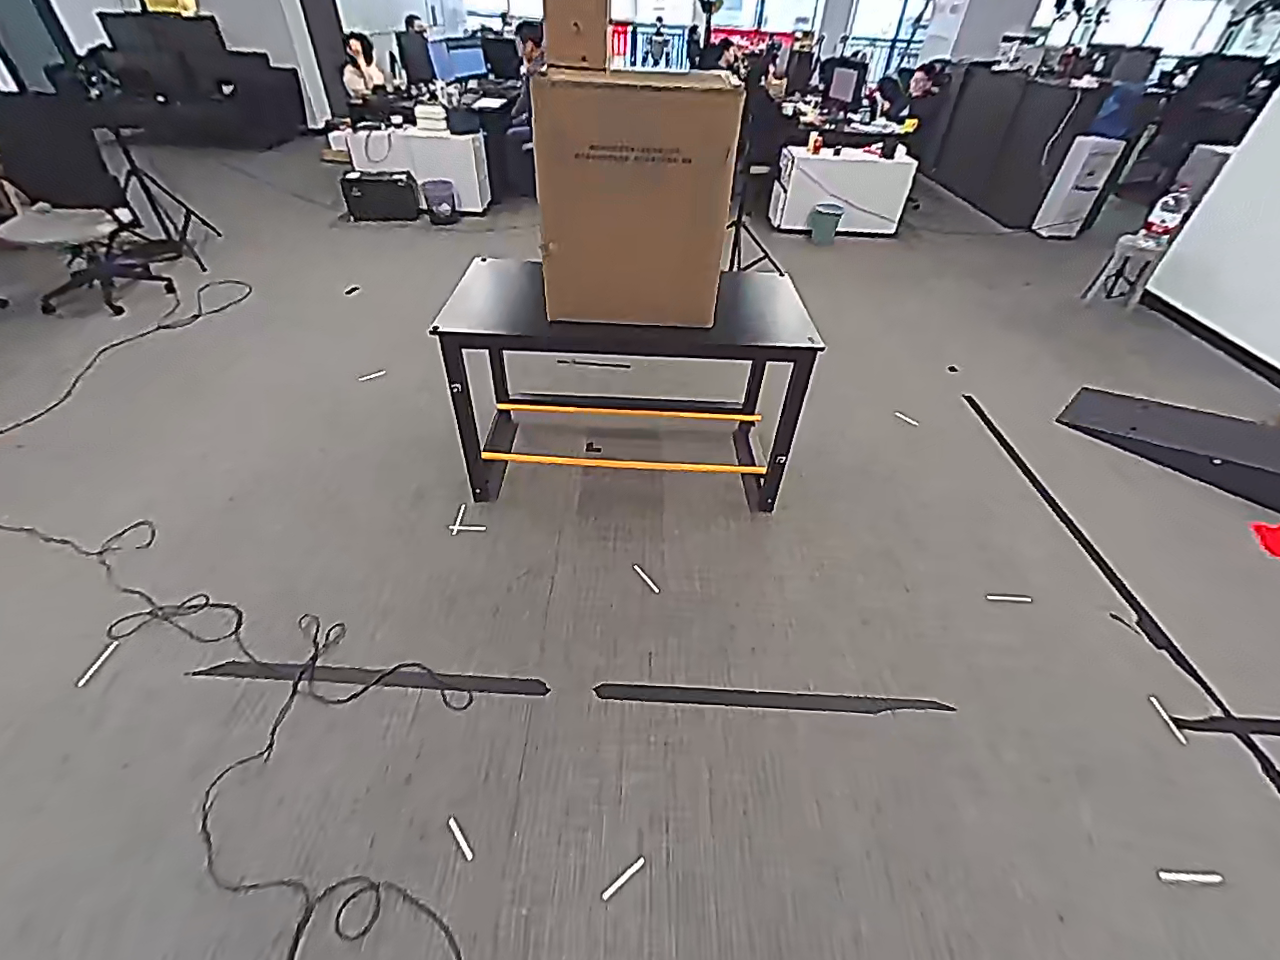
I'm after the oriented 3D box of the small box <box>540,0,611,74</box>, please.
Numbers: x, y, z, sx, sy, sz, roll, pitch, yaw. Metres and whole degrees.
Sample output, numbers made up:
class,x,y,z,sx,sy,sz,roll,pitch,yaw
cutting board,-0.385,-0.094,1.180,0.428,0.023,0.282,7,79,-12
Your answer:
class,x,y,z,sx,sy,sz,roll,pitch,yaw
small box,-0.163,-1.185,1.426,0.168,0.176,0.179,3,41,-2
